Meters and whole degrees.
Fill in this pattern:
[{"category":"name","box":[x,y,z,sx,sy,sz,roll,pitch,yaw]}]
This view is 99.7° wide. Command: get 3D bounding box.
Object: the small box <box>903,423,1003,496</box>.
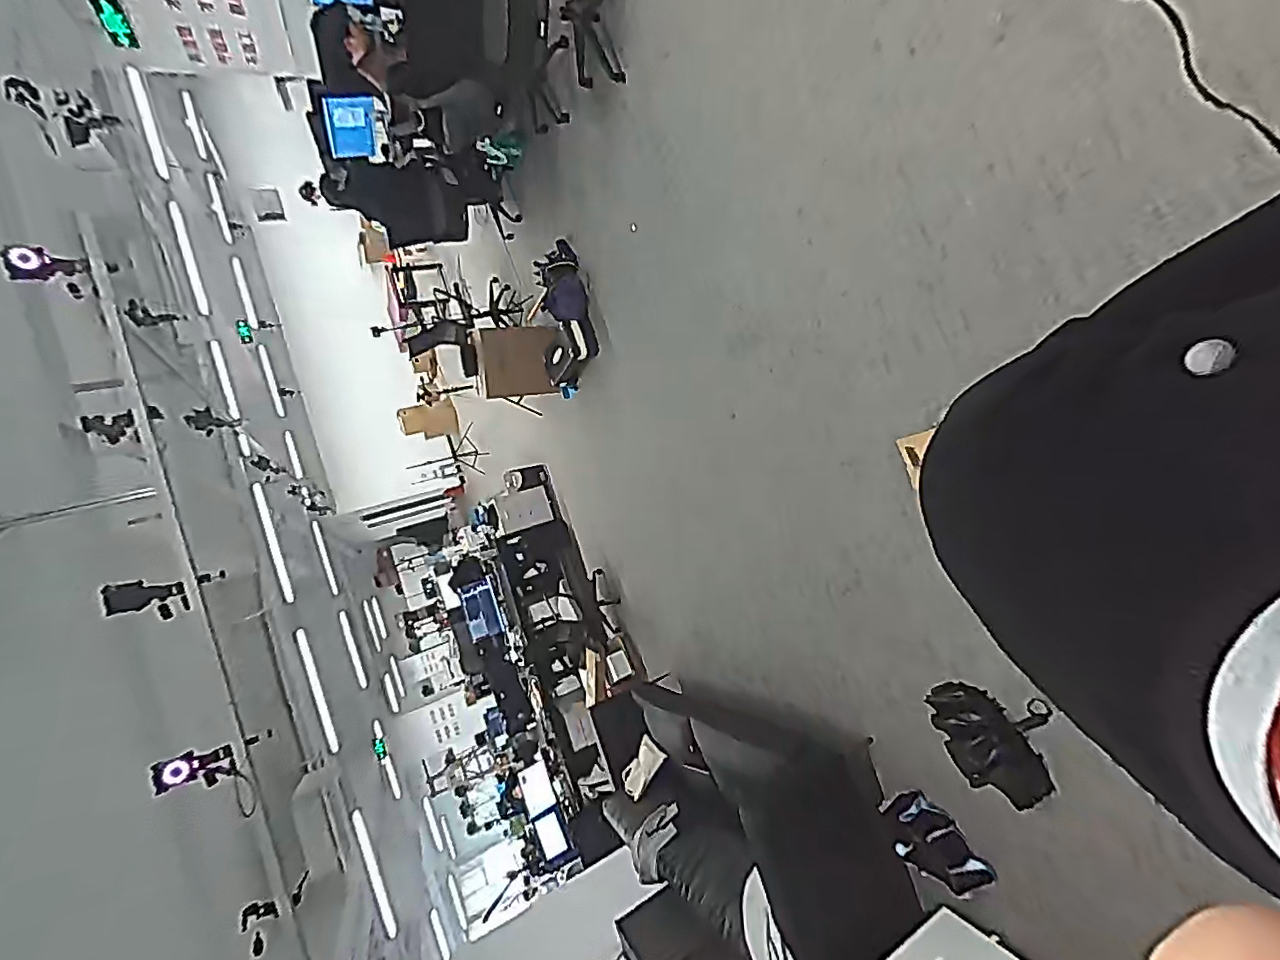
[{"category":"small box","box":[0.952,-0.061,1.645,0.179,0.176,0.168,-25,84,65]}]
